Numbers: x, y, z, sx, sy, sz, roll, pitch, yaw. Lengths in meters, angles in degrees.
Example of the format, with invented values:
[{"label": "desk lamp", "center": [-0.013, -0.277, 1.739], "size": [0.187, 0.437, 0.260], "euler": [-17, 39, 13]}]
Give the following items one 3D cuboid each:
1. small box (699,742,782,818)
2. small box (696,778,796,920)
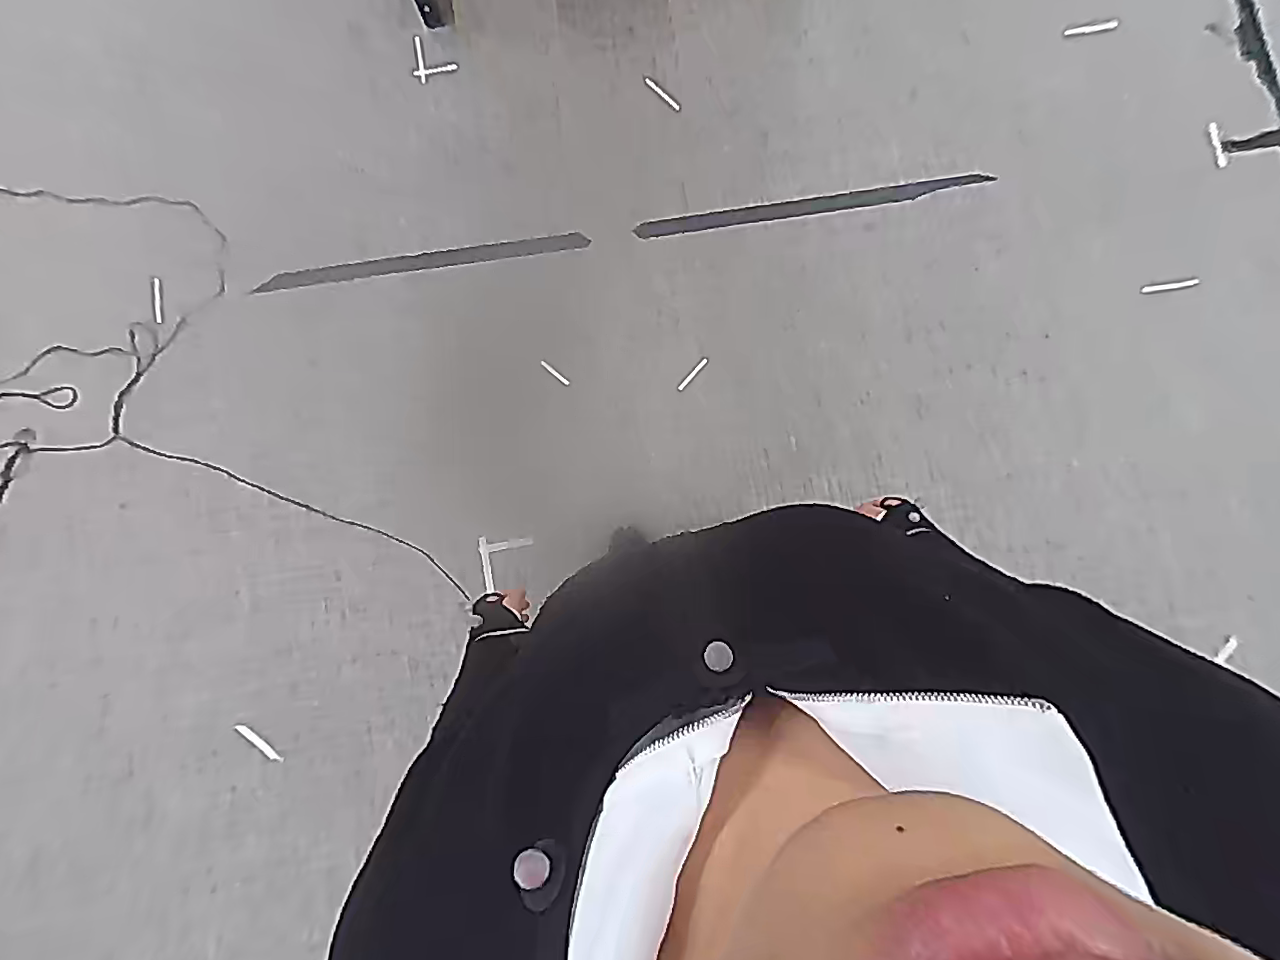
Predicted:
[{"label": "small box", "center": [0.234, 0.746, 1.268], "size": [0.168, 0.176, 0.179], "euler": [-10, 85, 2]}, {"label": "small box", "center": [0.209, 0.743, 1.104], "size": [0.168, 0.176, 0.179], "euler": [-8, 85, 2]}]
